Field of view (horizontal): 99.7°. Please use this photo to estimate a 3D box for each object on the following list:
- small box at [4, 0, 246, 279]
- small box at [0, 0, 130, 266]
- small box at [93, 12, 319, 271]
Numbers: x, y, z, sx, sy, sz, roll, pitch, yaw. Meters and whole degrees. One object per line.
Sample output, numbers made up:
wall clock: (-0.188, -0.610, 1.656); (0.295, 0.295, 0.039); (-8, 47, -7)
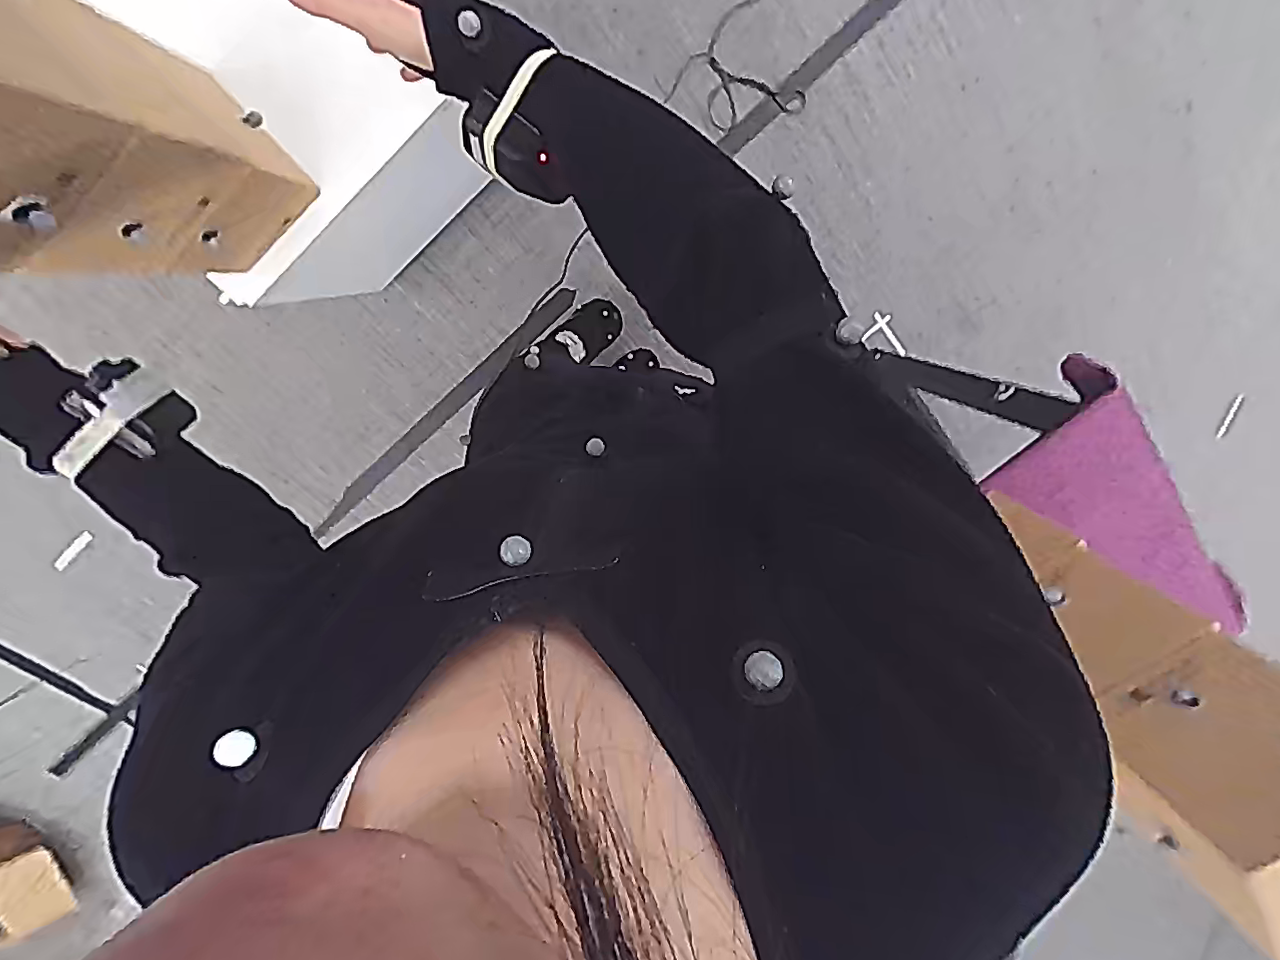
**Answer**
small box: (-0.507, -0.303, 0.475); (0.168, 0.176, 0.179); (-41, 109, 9)
small box: (-0.490, -0.247, 0.323); (0.168, 0.176, 0.179); (-41, 110, 10)
small box: (-0.526, -0.362, 0.626); (0.168, 0.176, 0.179); (-40, 109, 9)
